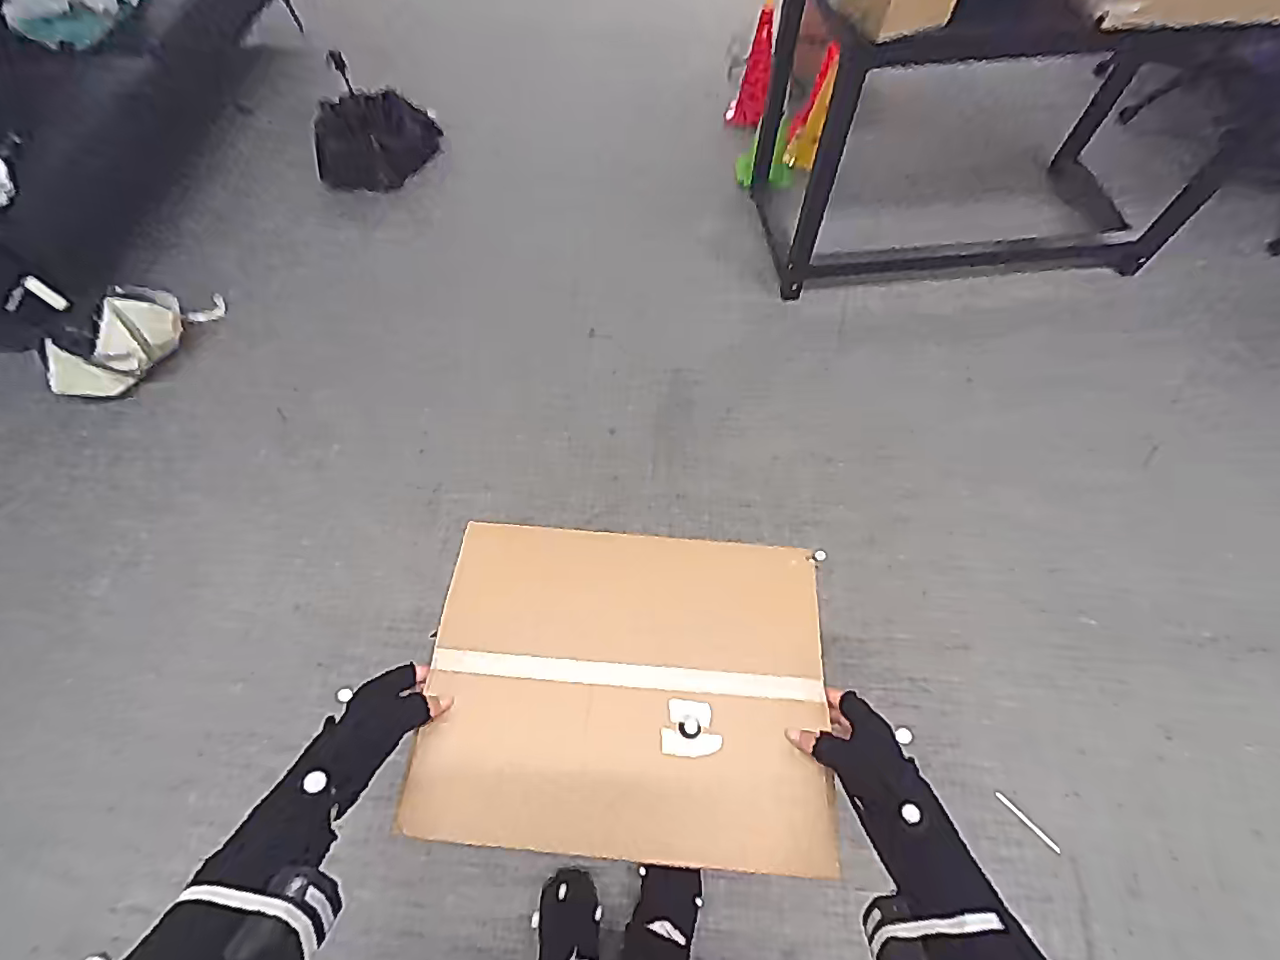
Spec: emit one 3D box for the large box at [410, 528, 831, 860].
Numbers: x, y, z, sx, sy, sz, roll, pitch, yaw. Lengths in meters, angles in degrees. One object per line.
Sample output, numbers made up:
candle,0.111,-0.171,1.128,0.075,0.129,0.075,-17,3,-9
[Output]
large box,-0.013,0.275,0.703,0.408,0.320,0.320,5,62,2
